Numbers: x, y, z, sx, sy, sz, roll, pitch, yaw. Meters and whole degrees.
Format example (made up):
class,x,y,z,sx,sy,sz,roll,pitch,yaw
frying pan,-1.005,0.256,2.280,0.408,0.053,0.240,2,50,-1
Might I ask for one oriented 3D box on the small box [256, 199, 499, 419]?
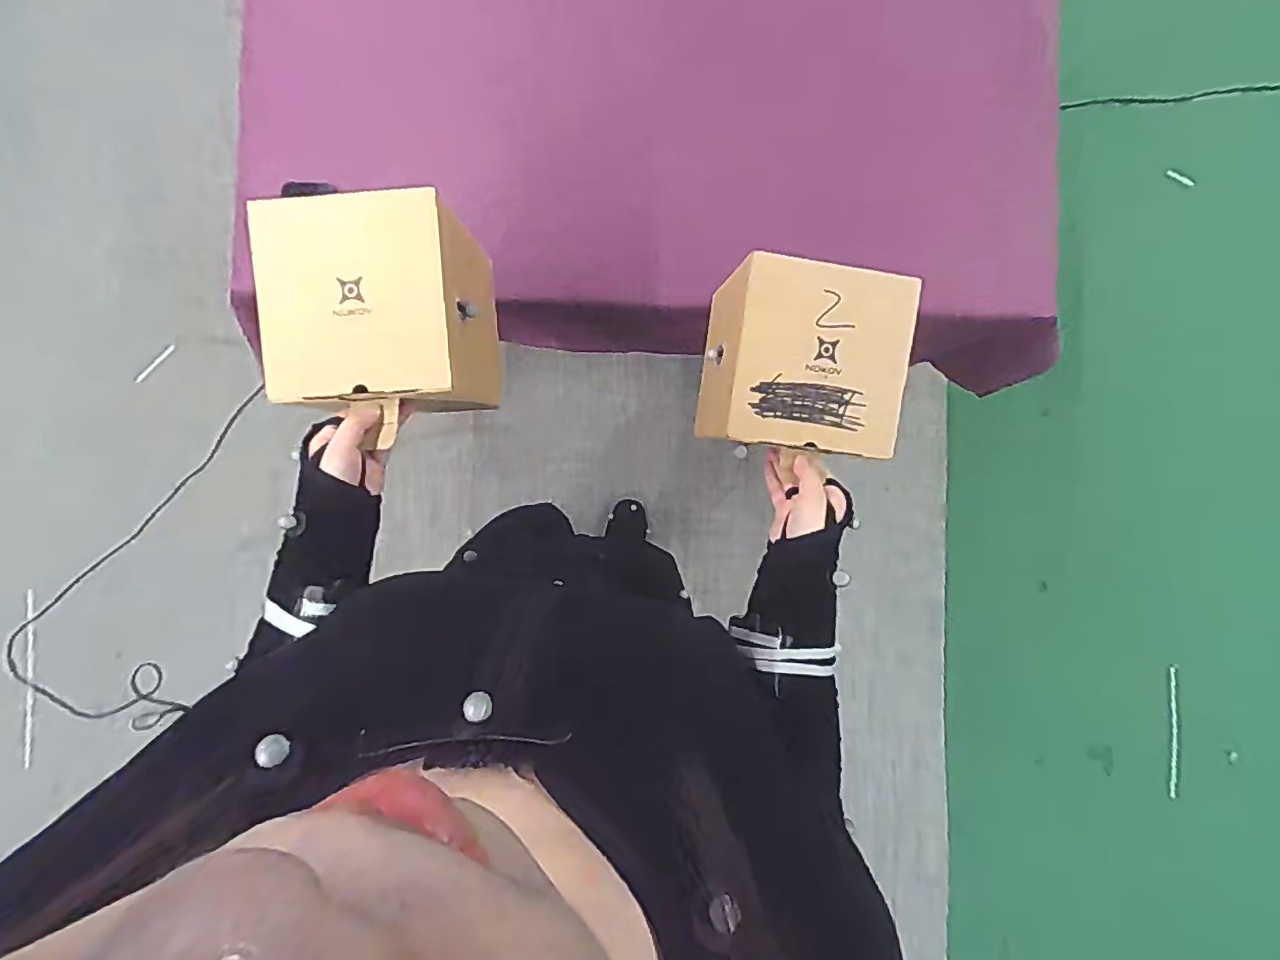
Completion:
class,x,y,z,sx,sy,sz,roll,pitch,yaw
small box,-0.252,-0.160,0.559,0.168,0.176,0.179,-4,93,0
